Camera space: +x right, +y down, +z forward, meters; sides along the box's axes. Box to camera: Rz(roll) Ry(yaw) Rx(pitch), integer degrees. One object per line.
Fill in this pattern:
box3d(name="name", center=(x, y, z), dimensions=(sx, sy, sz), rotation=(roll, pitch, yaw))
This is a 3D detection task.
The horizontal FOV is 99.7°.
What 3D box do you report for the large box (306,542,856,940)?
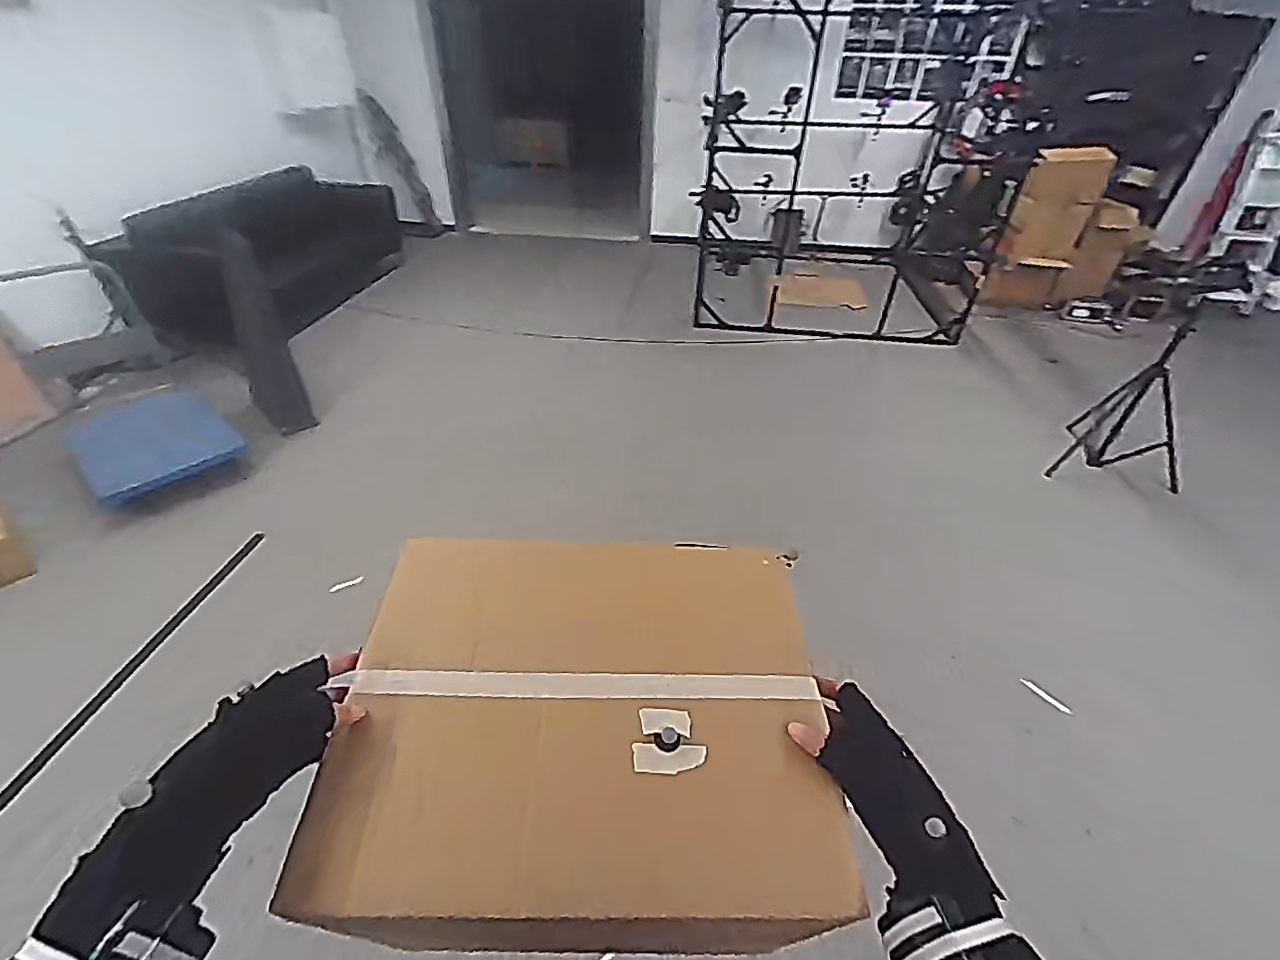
box3d(name="large box", center=(-0.048, 0.288, 0.593), dimensions=(0.408, 0.320, 0.320), rotation=(3, 46, -2))
